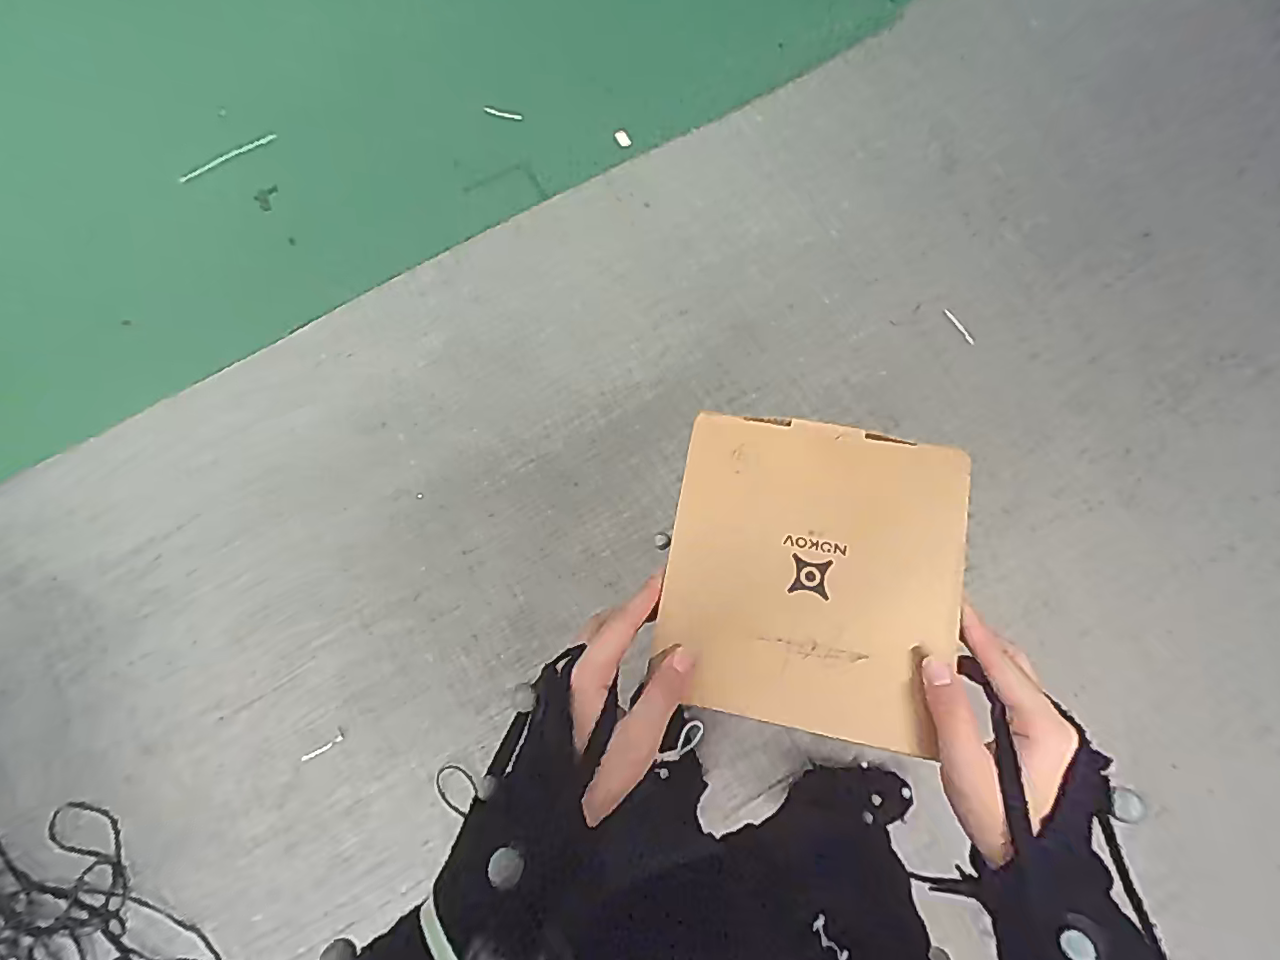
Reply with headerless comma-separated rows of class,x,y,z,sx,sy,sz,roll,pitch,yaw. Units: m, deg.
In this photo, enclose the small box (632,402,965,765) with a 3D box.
small box,0.097,0.066,0.380,0.168,0.176,0.179,10,79,8
